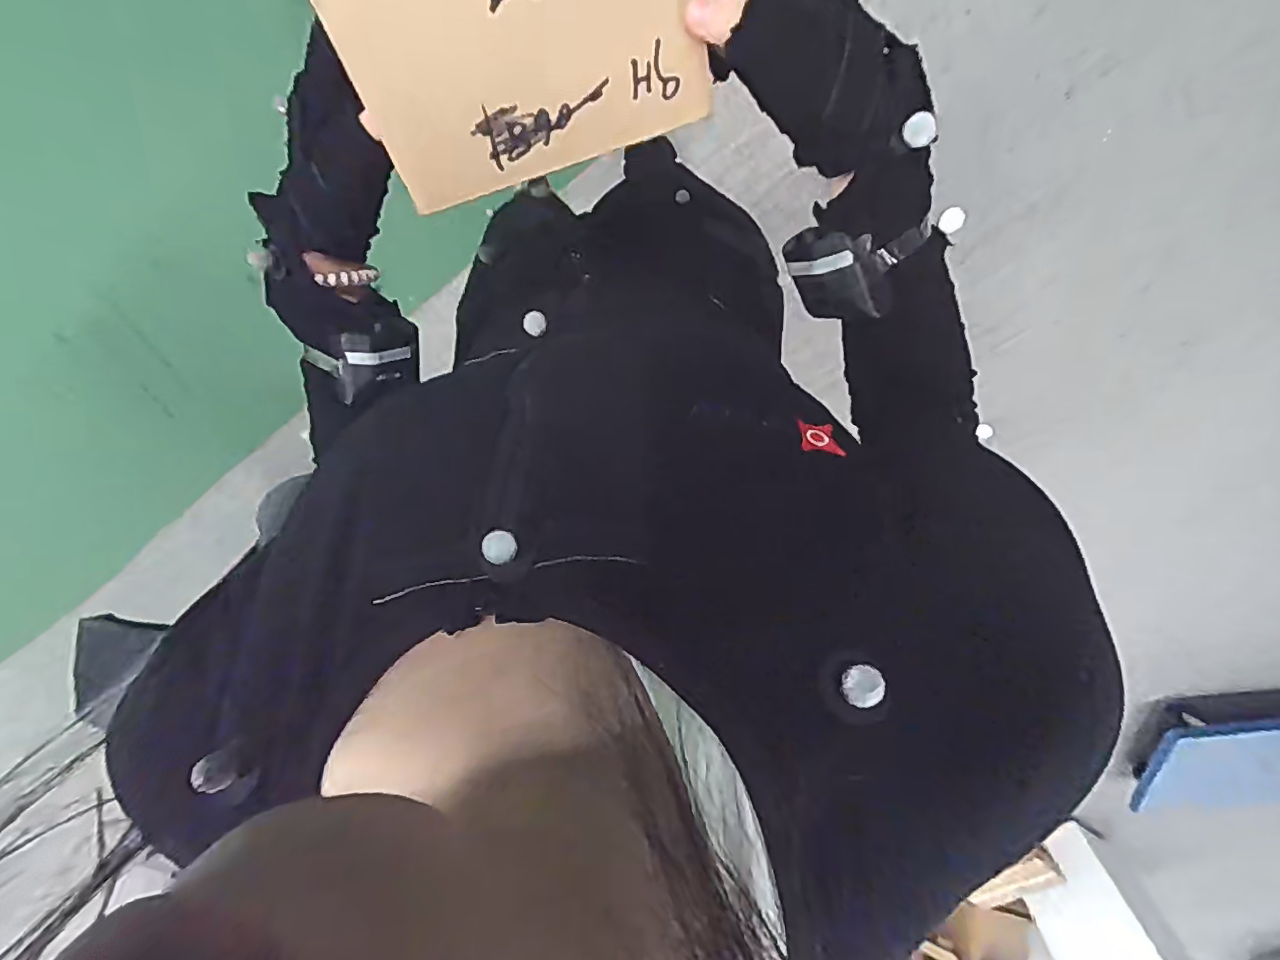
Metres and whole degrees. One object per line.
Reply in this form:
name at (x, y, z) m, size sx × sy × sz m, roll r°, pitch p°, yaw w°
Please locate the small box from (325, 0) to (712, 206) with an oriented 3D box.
small box at (-0.075, -0.283, 0.293) m, size 0.168 × 0.176 × 0.179 m, roll -19°, pitch 132°, yaw 2°
